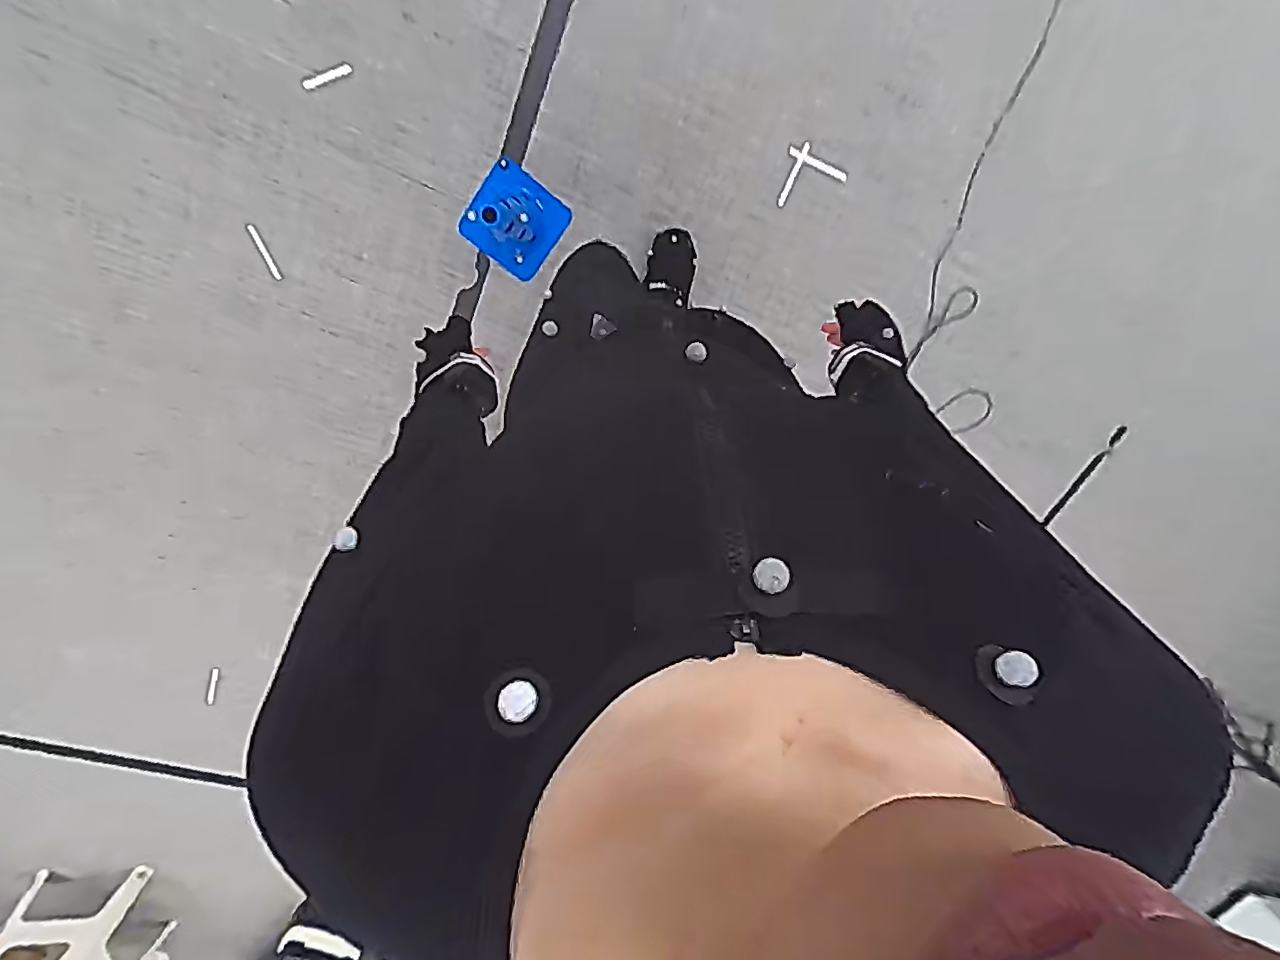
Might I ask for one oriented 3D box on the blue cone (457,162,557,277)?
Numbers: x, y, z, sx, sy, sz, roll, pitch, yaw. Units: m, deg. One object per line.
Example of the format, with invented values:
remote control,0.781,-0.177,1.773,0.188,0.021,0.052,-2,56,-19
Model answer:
blue cone,-0.291,-0.528,1.093,0.192,0.380,0.193,36,105,-18
